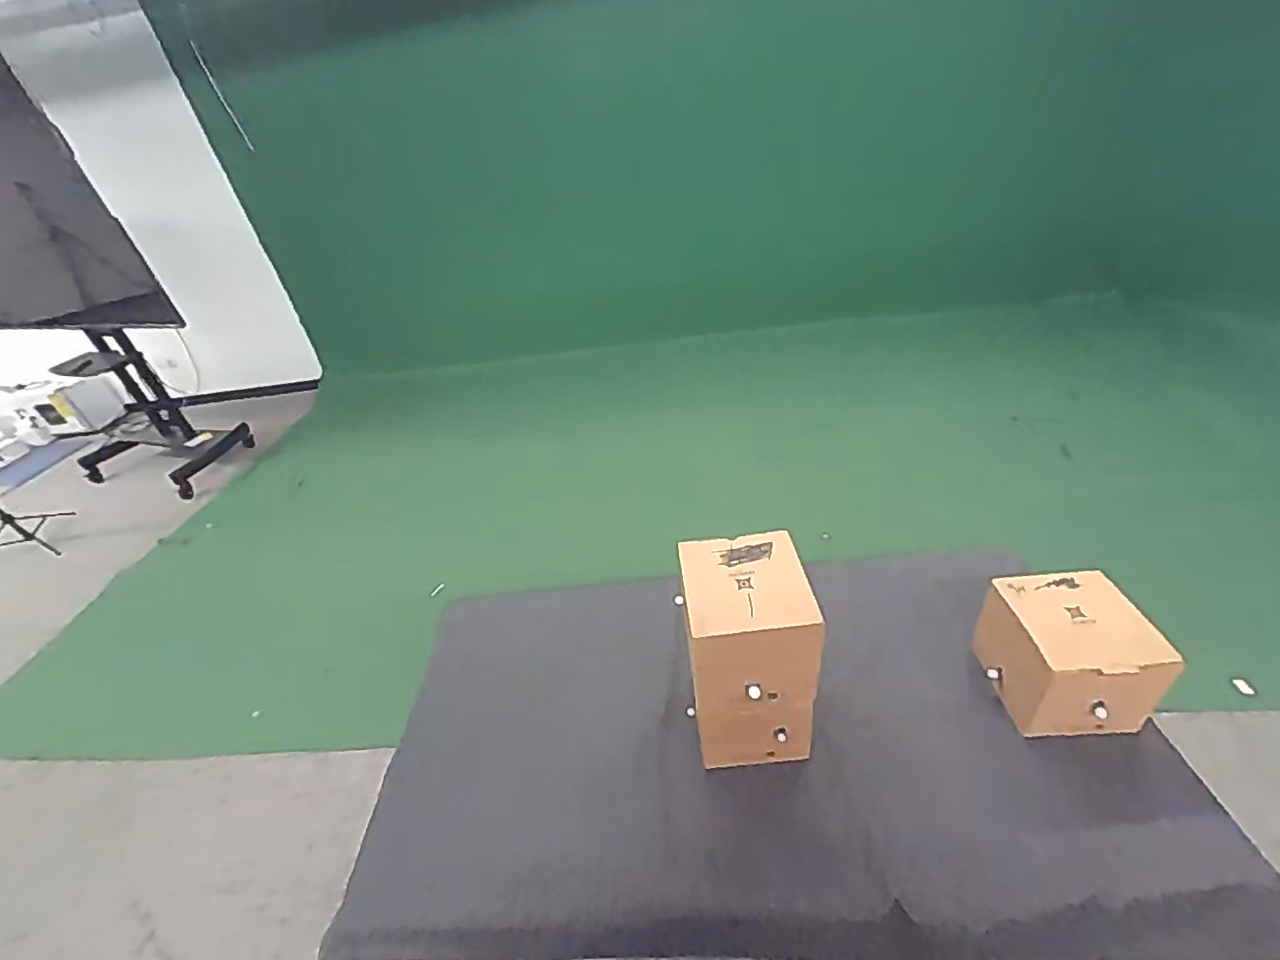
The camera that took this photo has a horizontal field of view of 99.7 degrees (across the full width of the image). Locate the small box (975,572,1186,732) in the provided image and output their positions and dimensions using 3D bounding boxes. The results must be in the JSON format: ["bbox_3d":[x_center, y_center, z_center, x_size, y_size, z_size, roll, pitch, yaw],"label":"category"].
[{"bbox_3d":[0.647,0.266,0.825,0.168,0.176,0.179,-5,36,6],"label":"small box"}]

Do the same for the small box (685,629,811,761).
[{"bbox_3d":[0.165,0.324,0.859,0.168,0.176,0.179,-6,34,2],"label":"small box"}]

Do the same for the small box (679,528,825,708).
[{"bbox_3d":[0.147,0.192,0.763,0.168,0.176,0.179,-7,36,2],"label":"small box"}]
